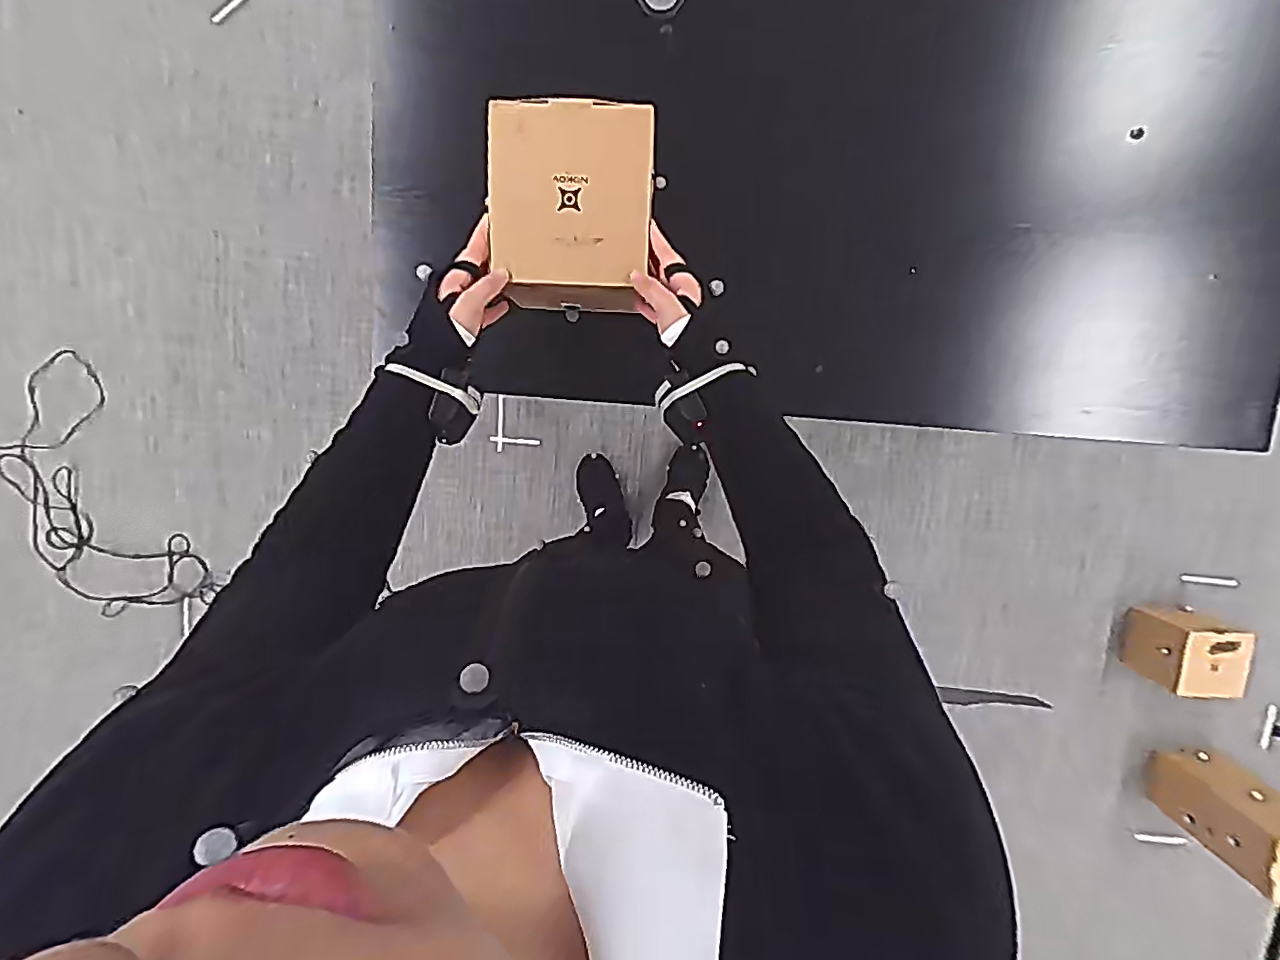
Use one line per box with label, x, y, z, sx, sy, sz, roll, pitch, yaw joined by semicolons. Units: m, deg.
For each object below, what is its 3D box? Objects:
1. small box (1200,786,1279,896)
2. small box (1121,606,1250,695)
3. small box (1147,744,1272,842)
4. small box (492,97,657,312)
small box;1.558;0.887;1.340;0.179;0.176;0.168;-2;98;2
small box;1.441;0.446;1.441;0.168;0.176;0.179;2;99;1
small box;1.569;0.866;1.502;0.168;0.176;0.179;-1;98;1
small box;-0.067;-0.300;0.622;0.168;0.176;0.179;2;99;1
